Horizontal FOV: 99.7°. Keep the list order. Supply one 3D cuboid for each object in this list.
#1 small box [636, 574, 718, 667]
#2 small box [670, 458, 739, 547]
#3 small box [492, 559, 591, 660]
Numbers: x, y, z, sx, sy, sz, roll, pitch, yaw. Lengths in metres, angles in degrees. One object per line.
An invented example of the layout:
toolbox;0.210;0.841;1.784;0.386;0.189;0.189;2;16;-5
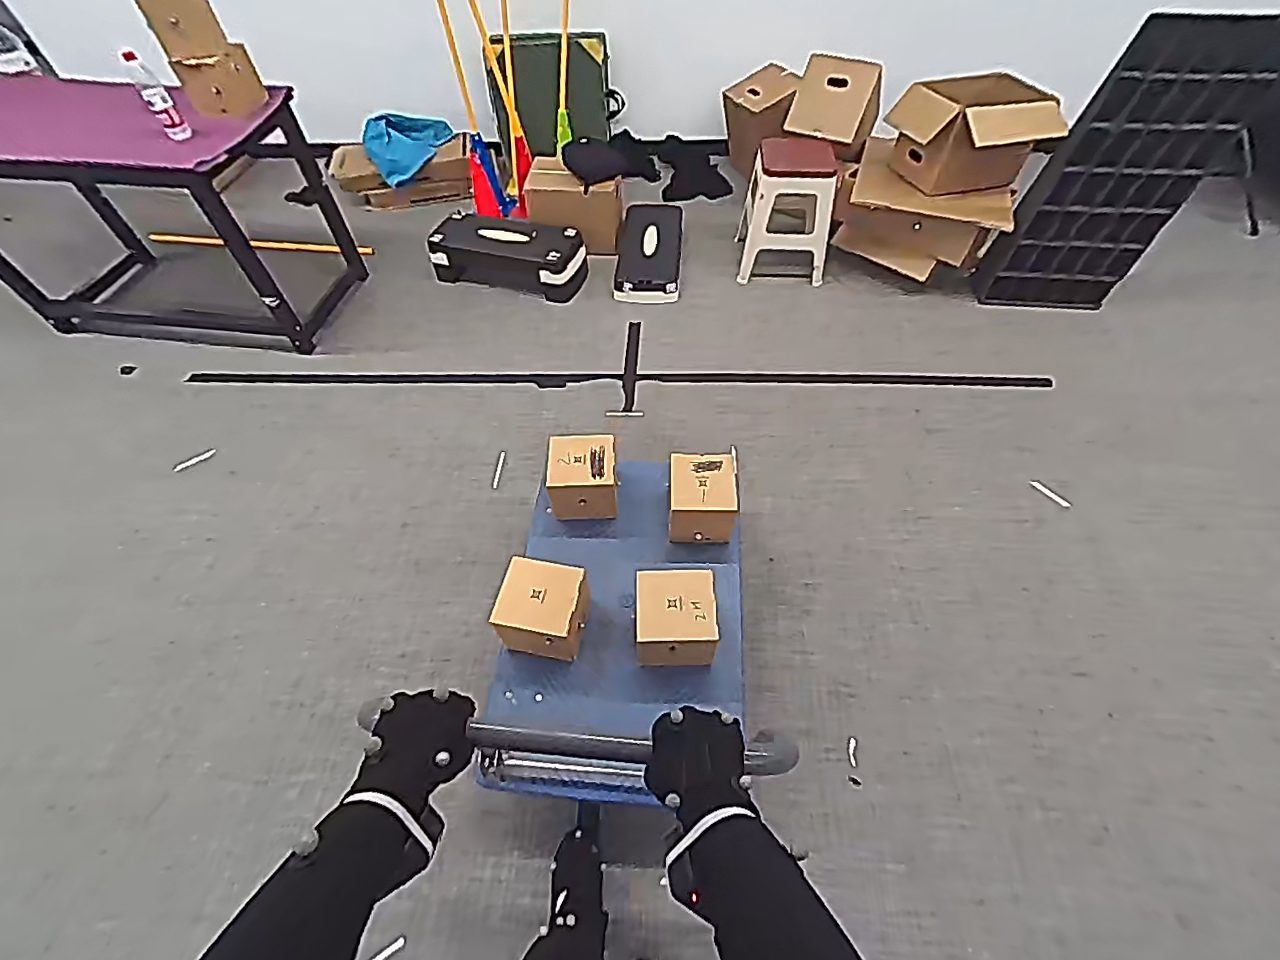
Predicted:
small box;0.082;0.328;1.250;0.179;0.176;0.168;-1;55;1
small box;0.166;0.060;1.440;0.168;0.176;0.179;1;55;2
small box;-0.222;0.308;1.270;0.179;0.176;0.168;10;55;6
